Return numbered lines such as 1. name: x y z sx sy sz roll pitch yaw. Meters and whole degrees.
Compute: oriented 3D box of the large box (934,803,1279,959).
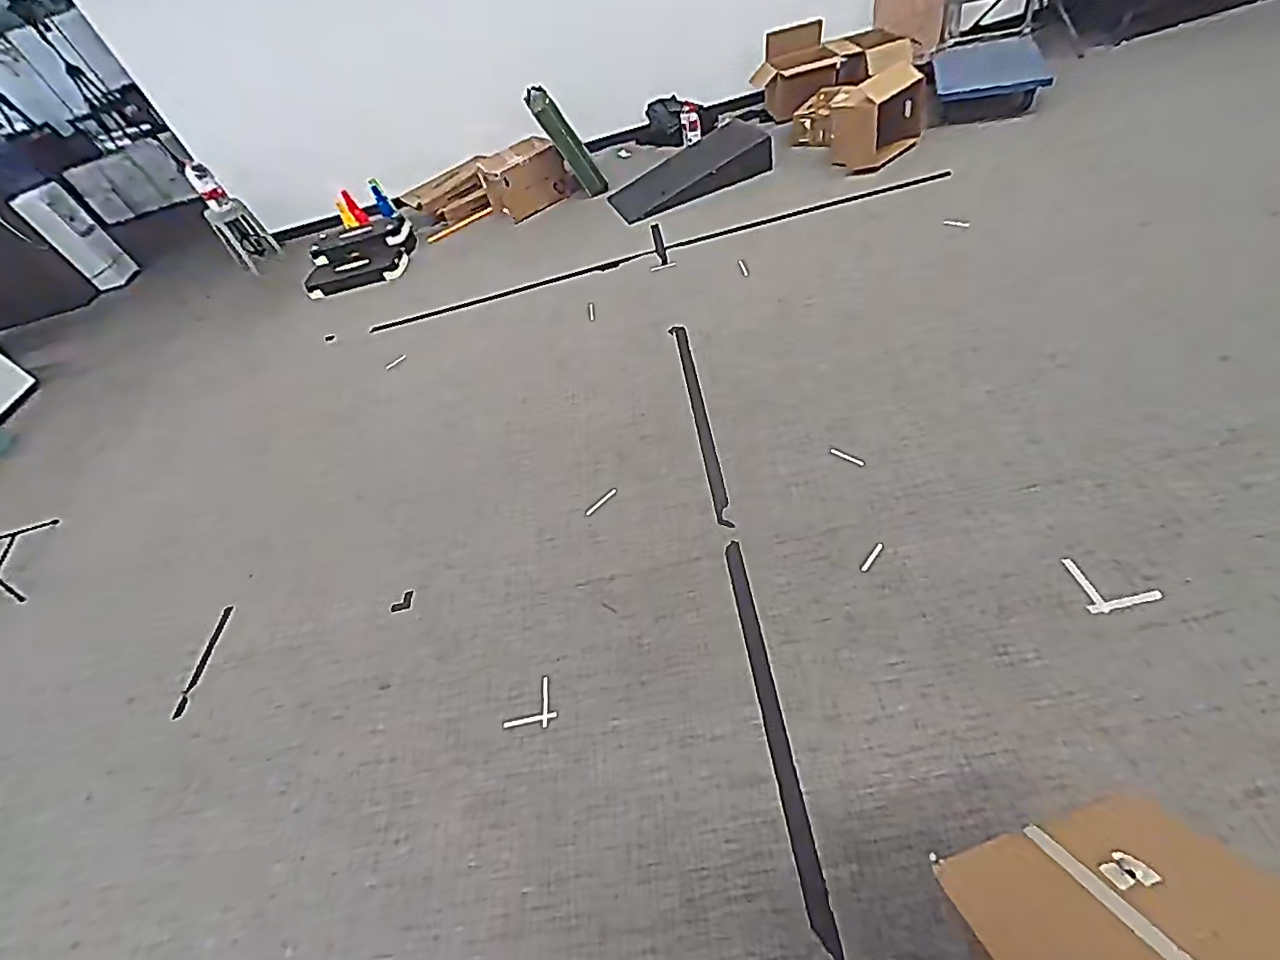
1. large box: 0.621 0.651 0.589 0.320 0.408 0.320 -22 82 2
